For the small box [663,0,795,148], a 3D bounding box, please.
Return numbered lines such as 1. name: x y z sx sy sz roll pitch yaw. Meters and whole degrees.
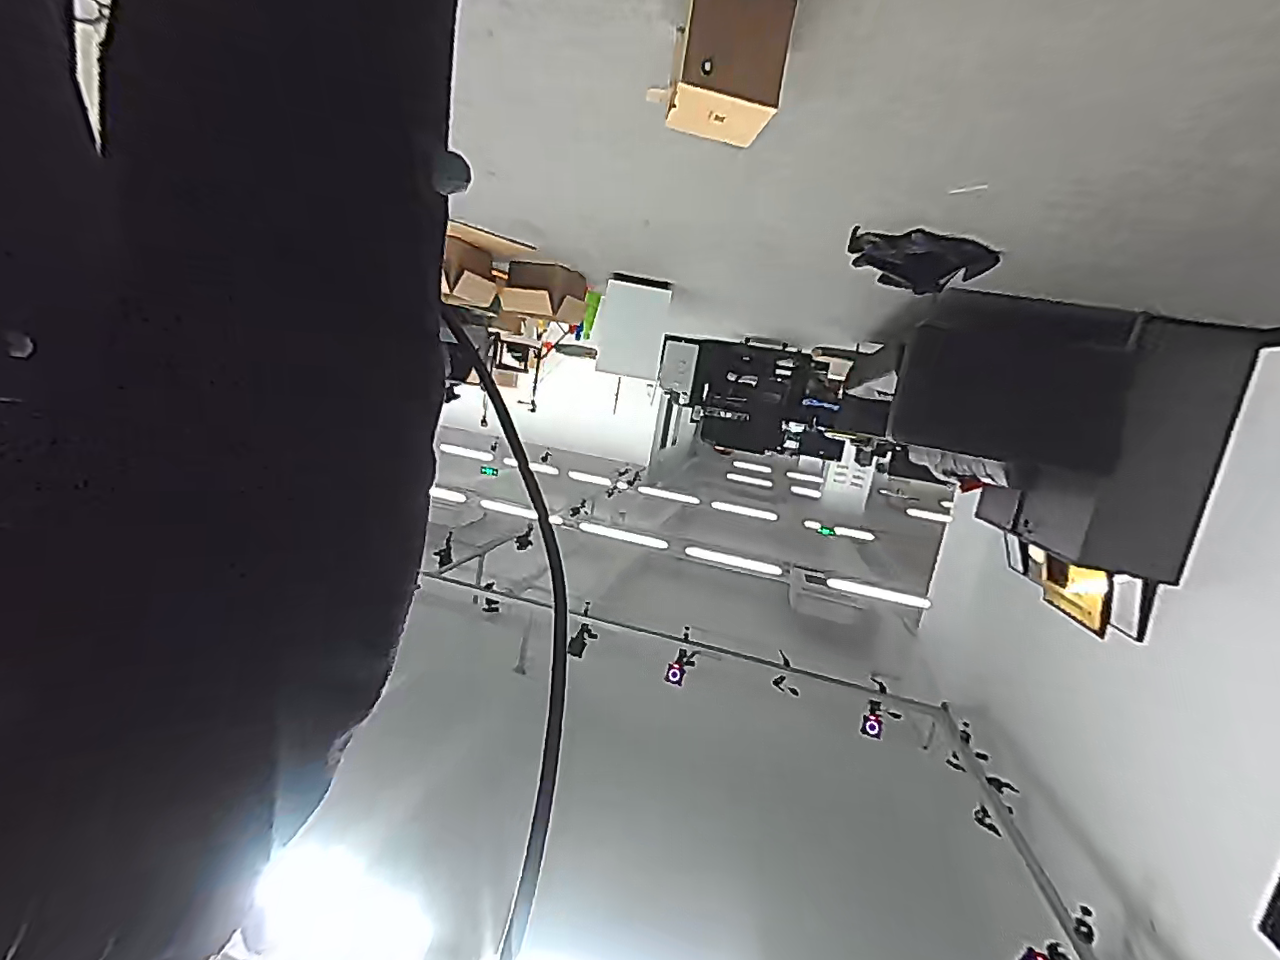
1. small box: 0.153 -0.728 0.960 0.179 0.176 0.168 9 -170 -10
